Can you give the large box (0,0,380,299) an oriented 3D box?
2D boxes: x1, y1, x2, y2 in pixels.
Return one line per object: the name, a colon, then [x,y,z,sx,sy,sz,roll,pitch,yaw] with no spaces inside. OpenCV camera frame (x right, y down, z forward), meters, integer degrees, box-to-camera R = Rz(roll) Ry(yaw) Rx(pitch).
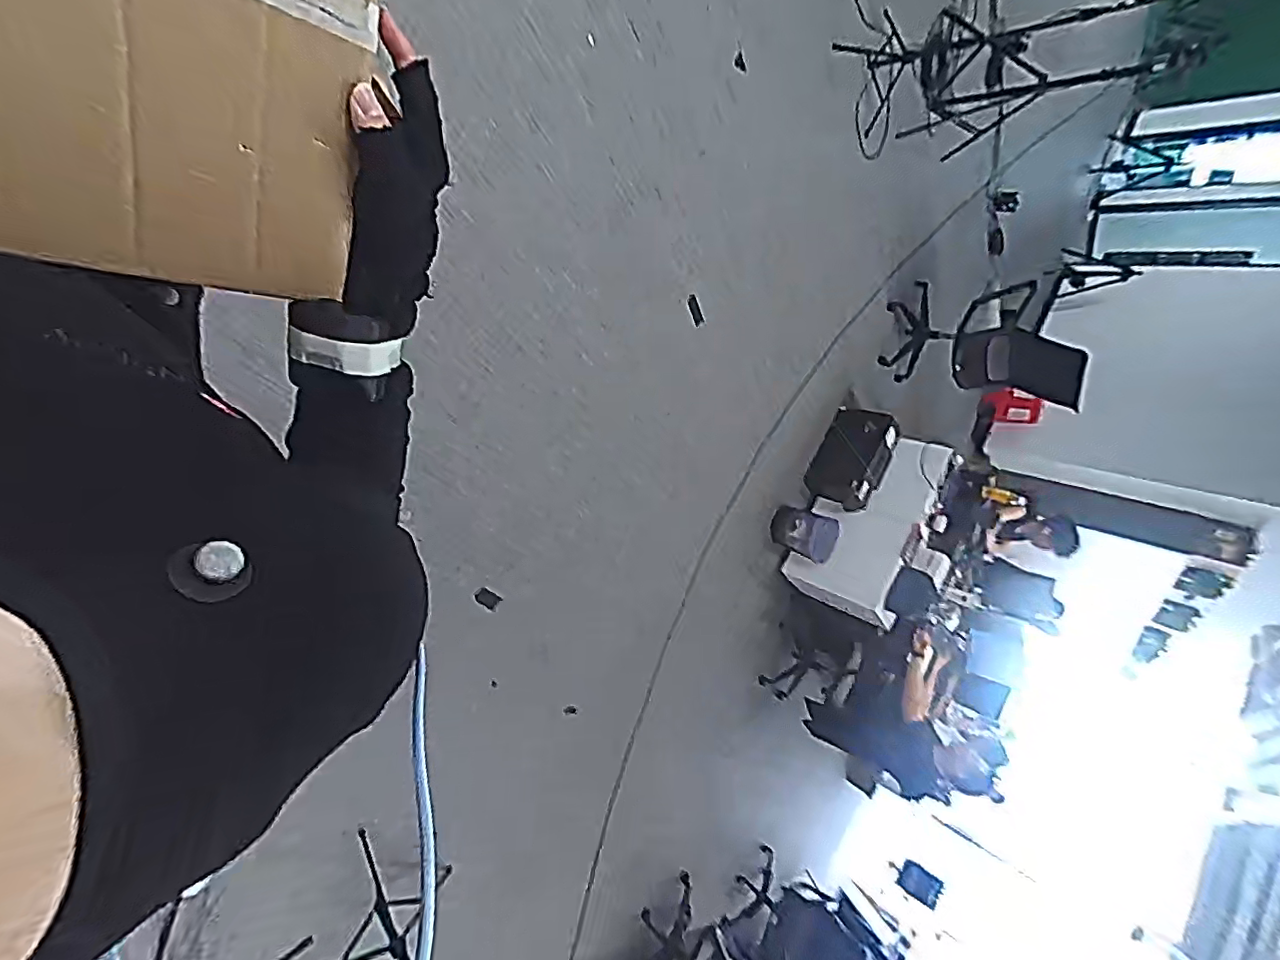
large box: [-0.383,-0.321,0.257,0.408,0.320,0.320,-4,130,-43]
